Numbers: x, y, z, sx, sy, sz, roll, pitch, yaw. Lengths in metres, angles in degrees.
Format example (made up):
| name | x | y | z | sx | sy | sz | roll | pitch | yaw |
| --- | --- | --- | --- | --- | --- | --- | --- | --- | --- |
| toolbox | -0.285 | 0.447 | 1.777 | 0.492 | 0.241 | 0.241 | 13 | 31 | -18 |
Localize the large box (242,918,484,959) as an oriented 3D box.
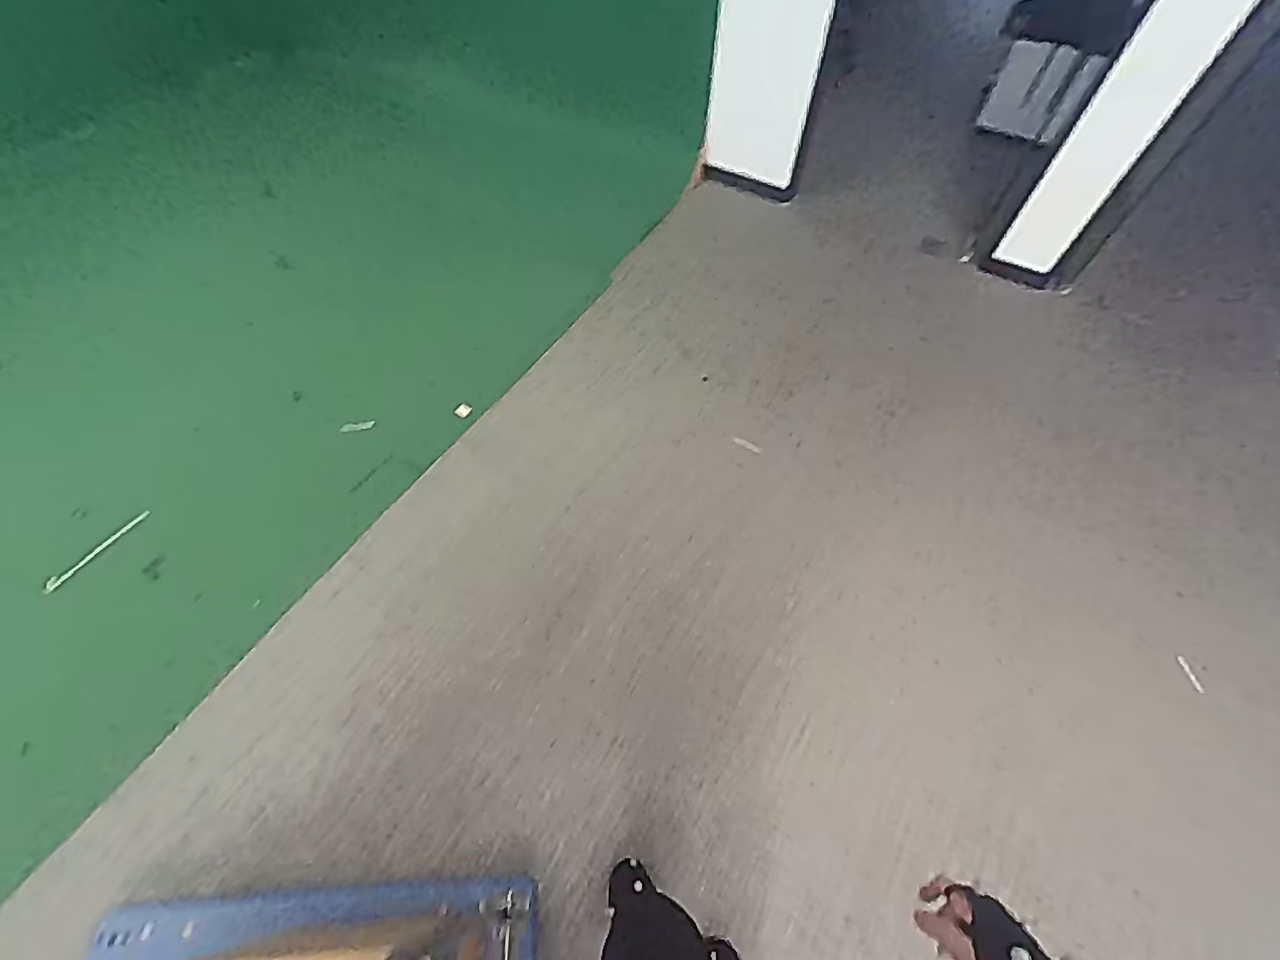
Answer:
| name | x | y | z | sx | sy | sz | roll | pitch | yaw |
| --- | --- | --- | --- | --- | --- | --- | --- | --- | --- |
| large box | -0.489 | 0.944 | 0.866 | 0.408 | 0.320 | 0.320 | -4 | 57 | -3 |
